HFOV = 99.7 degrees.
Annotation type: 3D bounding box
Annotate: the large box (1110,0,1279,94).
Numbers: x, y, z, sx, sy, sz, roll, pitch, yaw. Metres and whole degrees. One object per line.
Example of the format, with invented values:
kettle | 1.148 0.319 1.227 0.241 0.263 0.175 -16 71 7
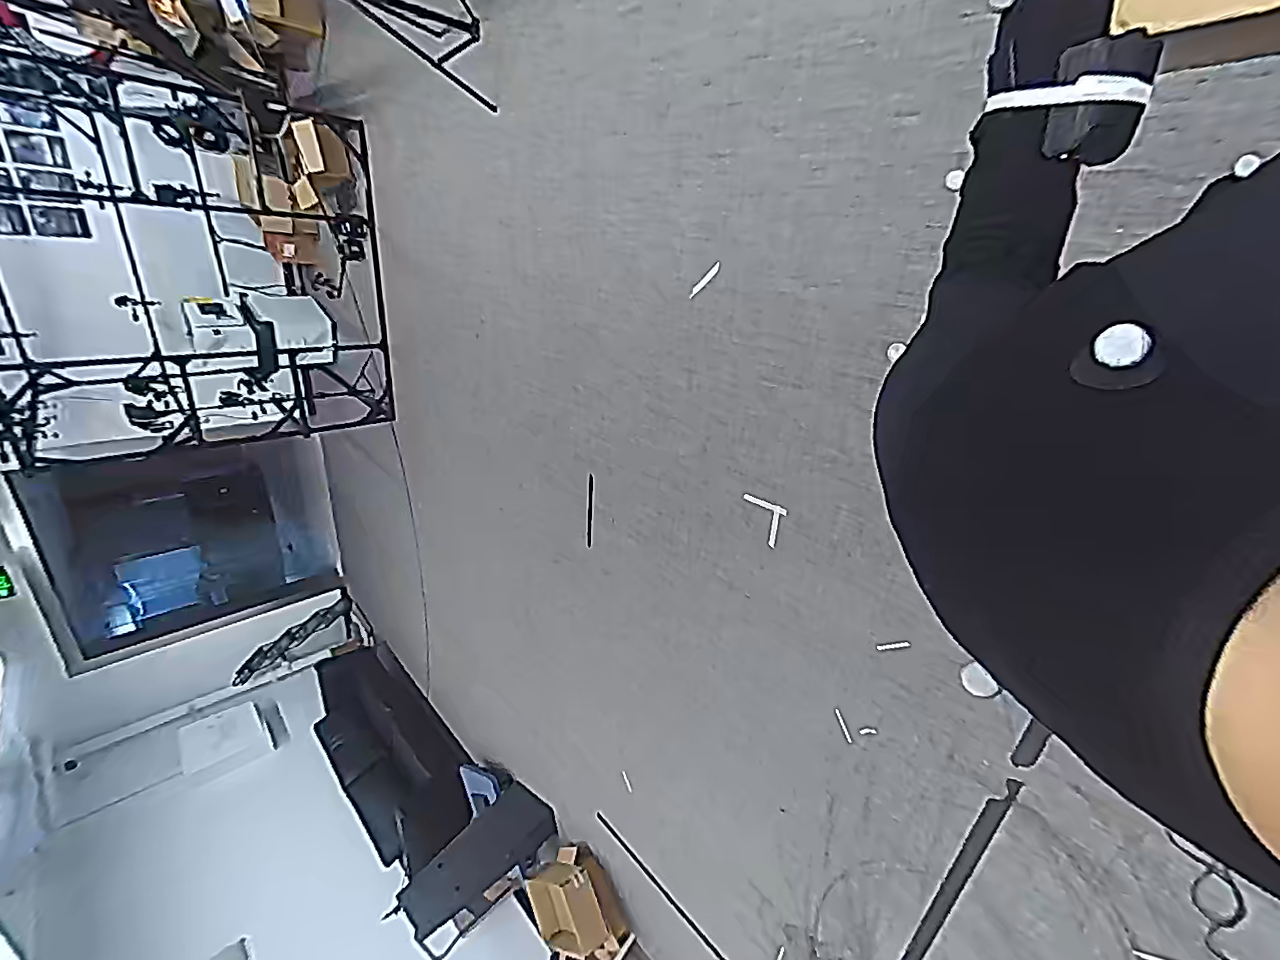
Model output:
large box | 0.532 -0.420 0.255 0.408 0.320 0.320 18 126 40
